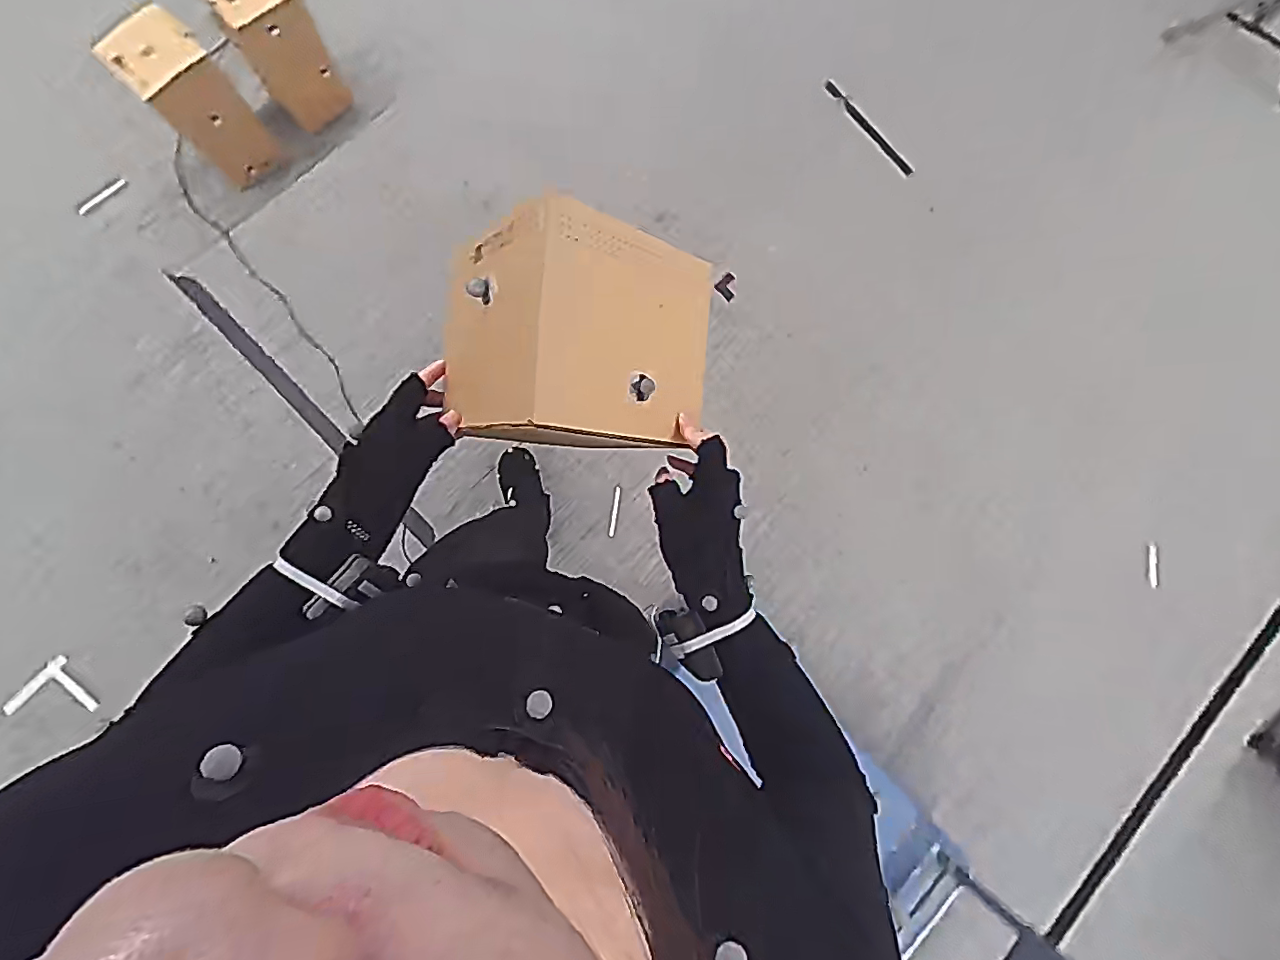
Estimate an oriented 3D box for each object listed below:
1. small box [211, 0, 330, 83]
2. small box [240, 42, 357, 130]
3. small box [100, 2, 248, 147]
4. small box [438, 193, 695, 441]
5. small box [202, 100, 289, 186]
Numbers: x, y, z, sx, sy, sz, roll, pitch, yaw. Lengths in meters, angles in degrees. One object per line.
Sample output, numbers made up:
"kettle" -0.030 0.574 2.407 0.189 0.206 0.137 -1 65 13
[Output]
"small box" -0.898 -1.123 1.308 0.179 0.176 0.168 -42 90 -10
"small box" -0.917 -1.107 1.471 0.179 0.176 0.168 -42 89 -9
"small box" -1.074 -0.943 1.271 0.179 0.176 0.168 -44 90 -8
"small box" -0.064 -0.126 0.490 0.179 0.168 0.176 3 90 -41
"small box" -1.092 -0.932 1.433 0.168 0.176 0.179 -43 91 -7
